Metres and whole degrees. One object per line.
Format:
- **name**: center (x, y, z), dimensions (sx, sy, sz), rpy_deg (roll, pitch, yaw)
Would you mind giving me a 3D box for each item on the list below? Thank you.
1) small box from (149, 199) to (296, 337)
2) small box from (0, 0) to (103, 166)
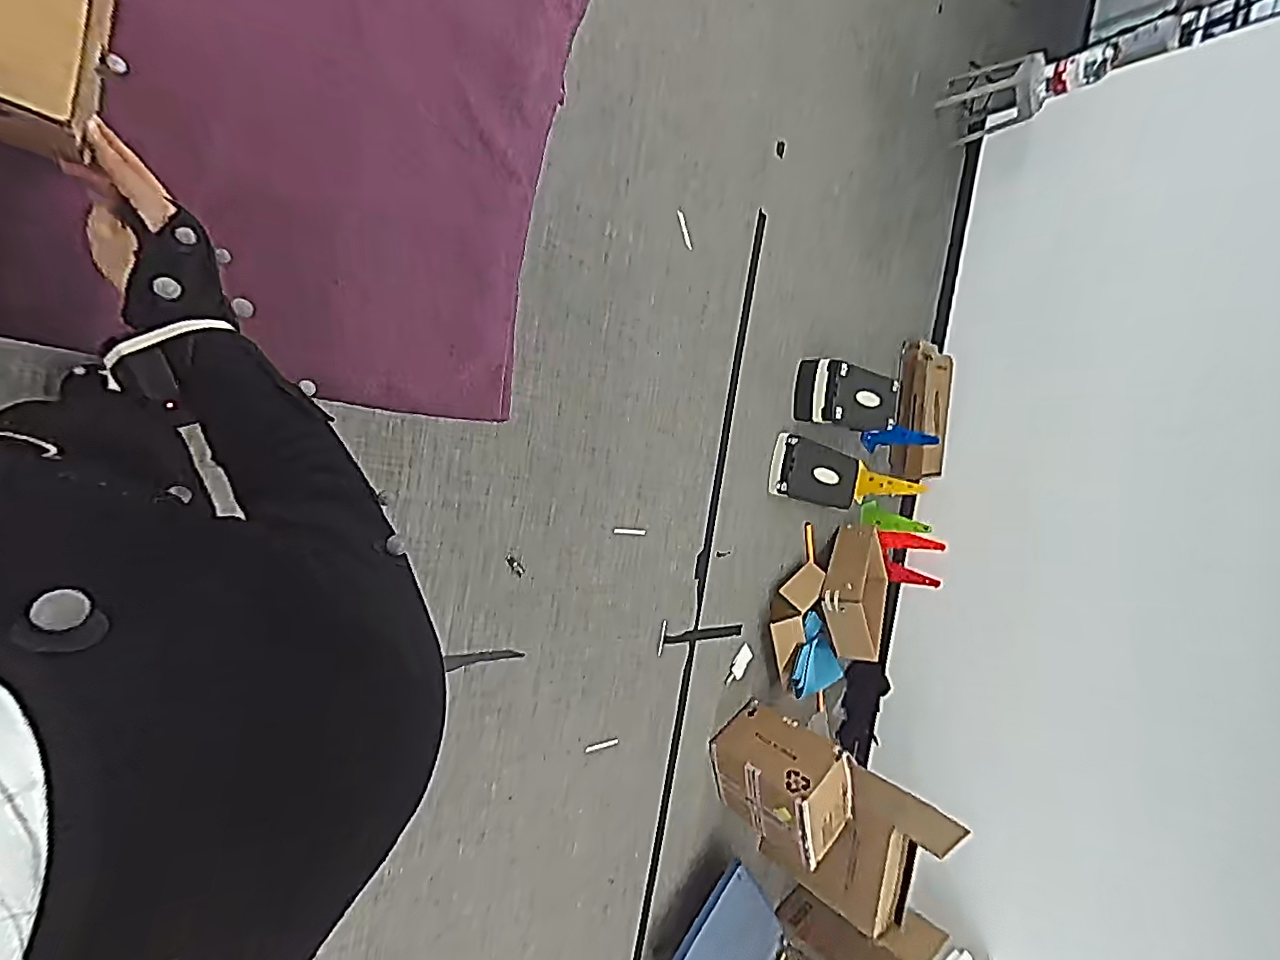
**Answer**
- **small box**: center (-0.722, -0.349, 0.933), dimensions (0.179, 0.176, 0.168), rpy_deg (7, 94, -43)
- **small box**: center (-0.444, -0.326, 0.323), dimensions (0.168, 0.179, 0.176), rpy_deg (10, 98, -45)
